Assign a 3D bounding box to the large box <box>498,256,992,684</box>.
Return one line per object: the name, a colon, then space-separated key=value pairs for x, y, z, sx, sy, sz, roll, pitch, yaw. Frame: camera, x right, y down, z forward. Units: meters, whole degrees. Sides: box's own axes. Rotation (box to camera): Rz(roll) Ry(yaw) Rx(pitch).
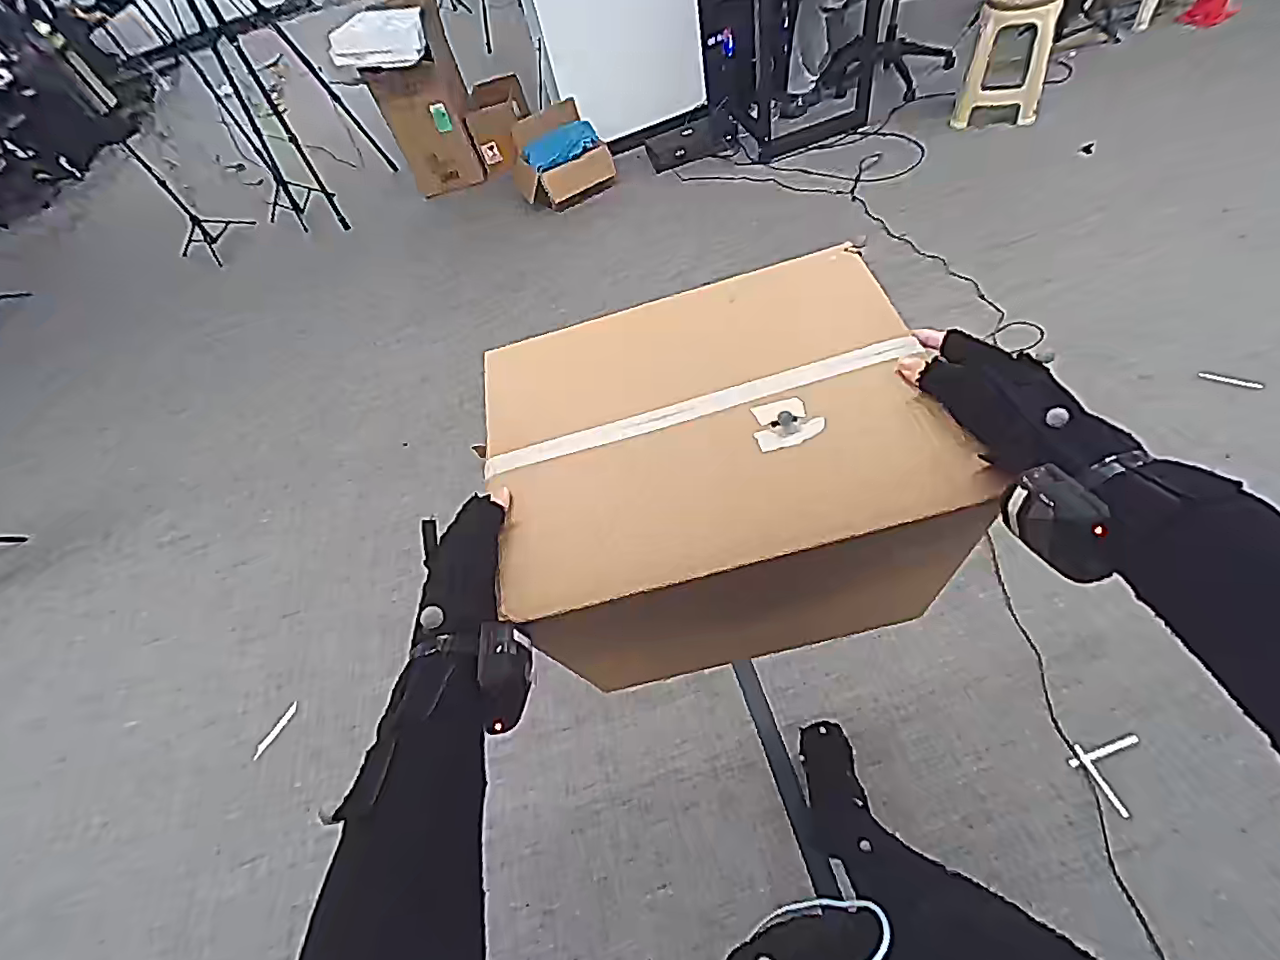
large box: x=0.087 y=0.011 z=0.638 sx=0.408 sy=0.320 sz=0.320 roll=-15 pitch=58 yaw=4
